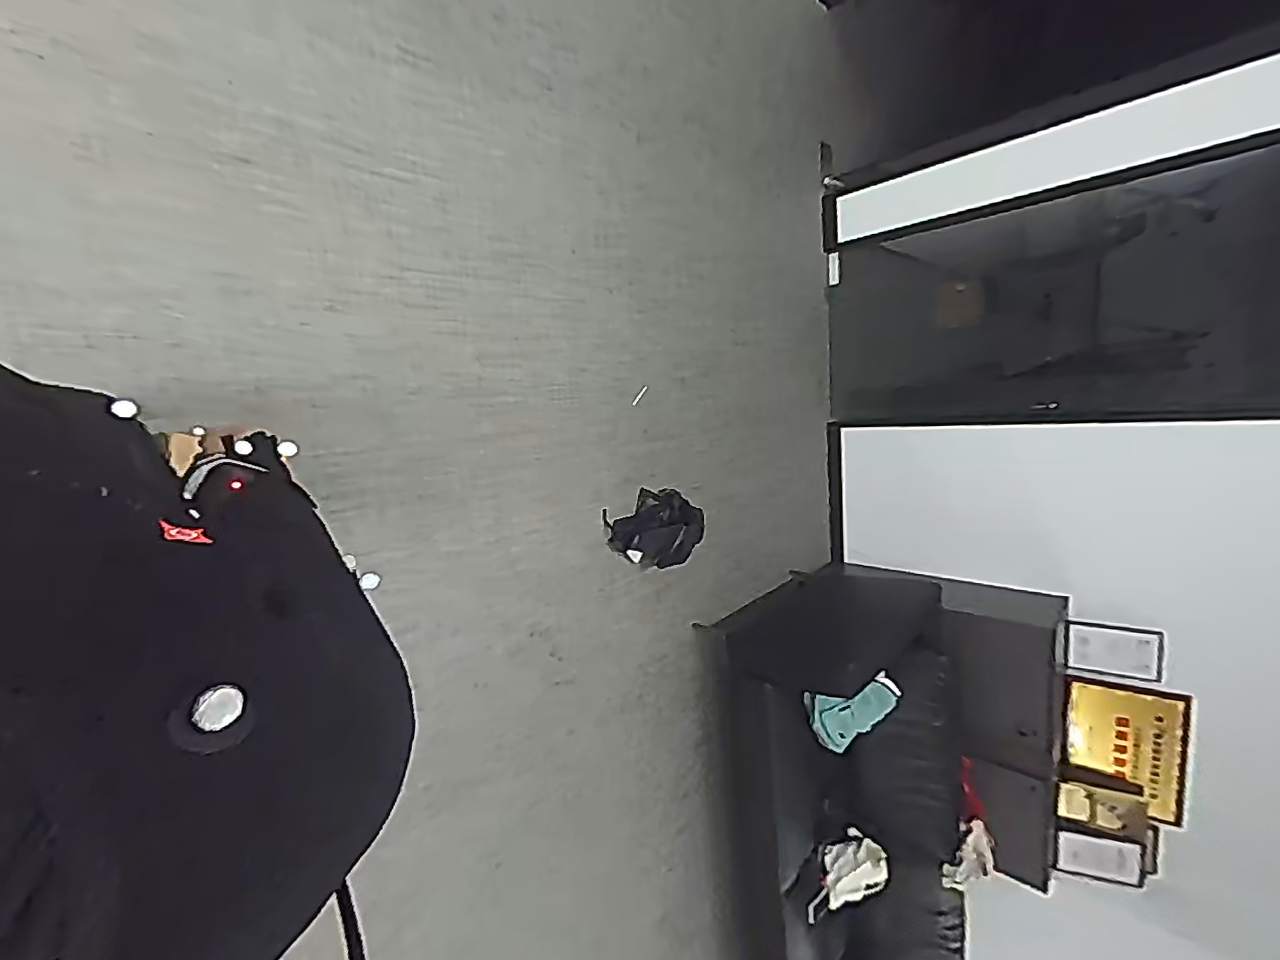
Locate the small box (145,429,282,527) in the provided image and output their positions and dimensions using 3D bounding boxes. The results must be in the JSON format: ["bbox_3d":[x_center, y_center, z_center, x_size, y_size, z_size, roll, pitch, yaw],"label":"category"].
[{"bbox_3d":[-0.831,-0.005,1.052,0.179,0.176,0.168,8,88,-46],"label":"small box"}]
